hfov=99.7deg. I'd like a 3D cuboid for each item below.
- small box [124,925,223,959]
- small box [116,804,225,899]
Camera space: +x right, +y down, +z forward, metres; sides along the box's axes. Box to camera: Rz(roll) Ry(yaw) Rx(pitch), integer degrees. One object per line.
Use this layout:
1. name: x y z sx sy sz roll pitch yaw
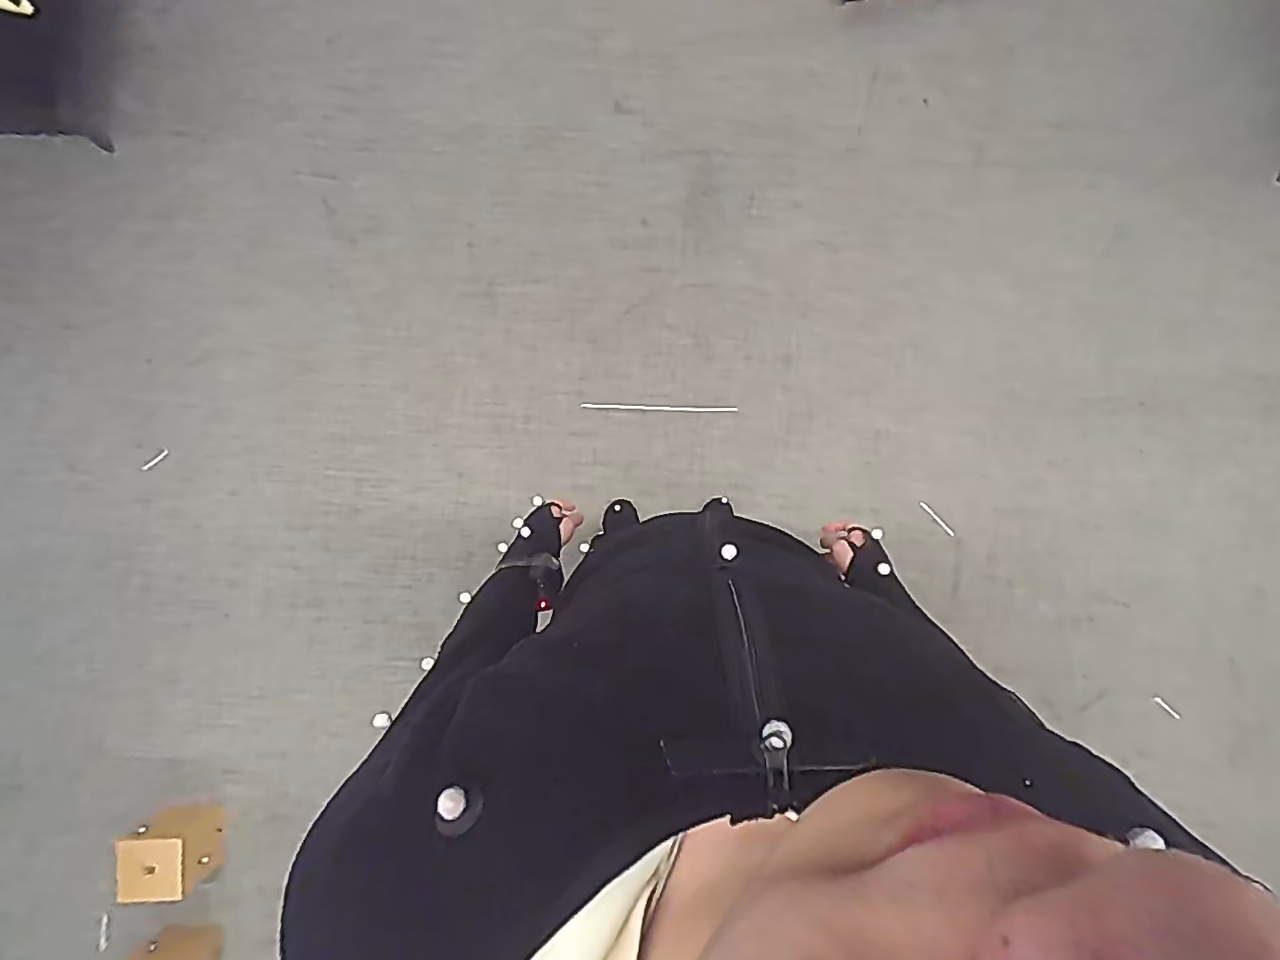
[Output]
1. small box: -1.325 1.393 1.516 0.179 0.176 0.168 1 88 0
2. small box: -1.320 1.044 1.532 0.179 0.176 0.168 -2 88 1
